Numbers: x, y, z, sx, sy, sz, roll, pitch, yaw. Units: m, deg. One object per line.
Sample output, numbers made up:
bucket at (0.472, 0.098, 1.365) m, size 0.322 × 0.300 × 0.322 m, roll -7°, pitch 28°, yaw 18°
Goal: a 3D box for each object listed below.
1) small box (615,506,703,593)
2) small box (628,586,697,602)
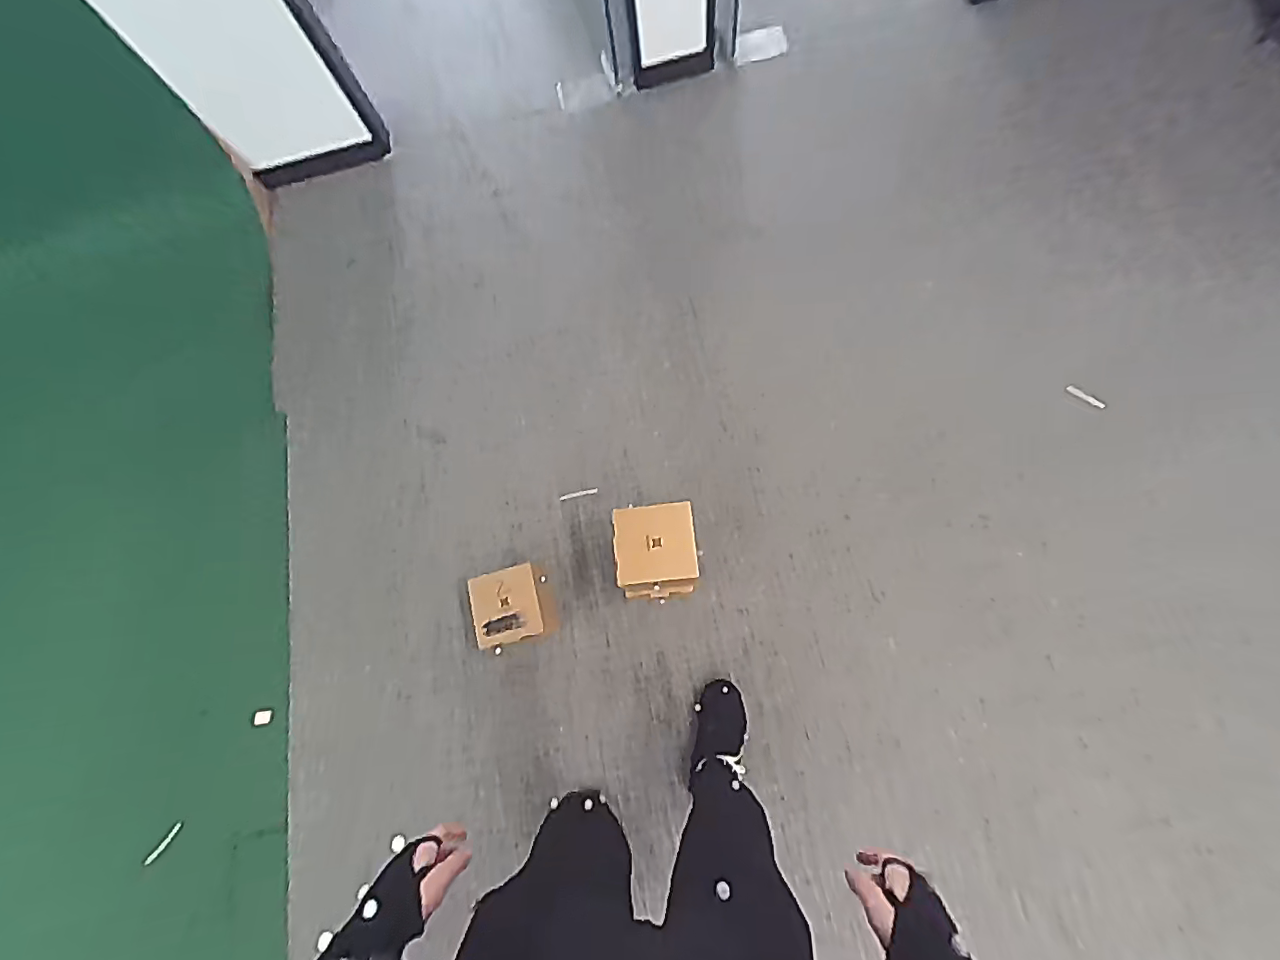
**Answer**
small box at (0.047, 0.163, 1.230) m, size 0.179 × 0.176 × 0.168 m, roll -8°, pitch 73°, yaw 5°
small box at (0.057, 0.218, 1.383) m, size 0.168 × 0.176 × 0.179 m, roll -6°, pitch 74°, yaw 5°
